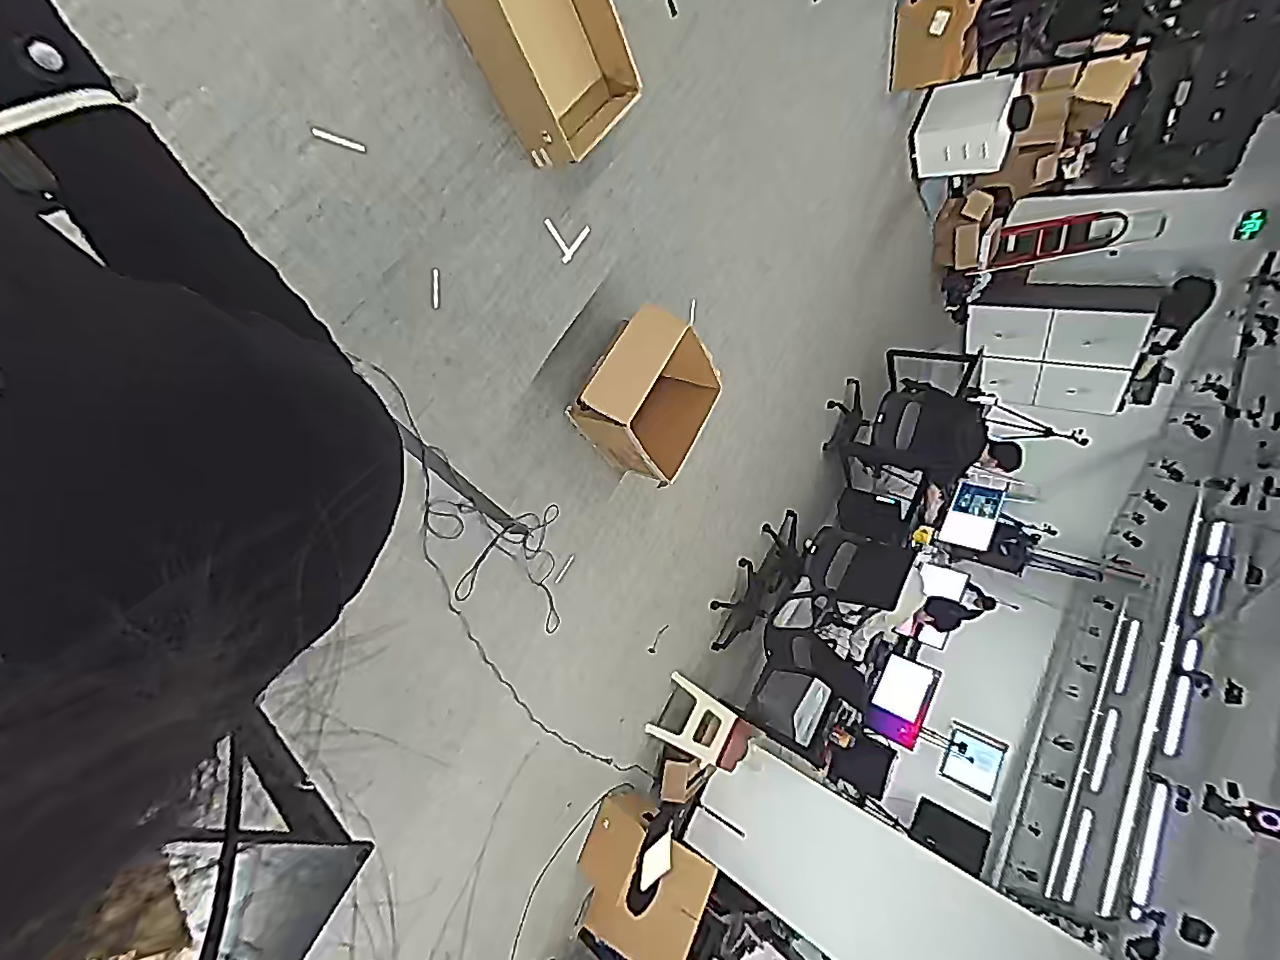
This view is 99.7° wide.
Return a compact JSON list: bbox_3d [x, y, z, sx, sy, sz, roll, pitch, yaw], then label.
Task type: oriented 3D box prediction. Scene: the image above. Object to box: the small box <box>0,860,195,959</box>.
[{"bbox_3d":[-0.648,0.550,0.589,0.168,0.176,0.179,43,70,-51],"label":"small box"}]
